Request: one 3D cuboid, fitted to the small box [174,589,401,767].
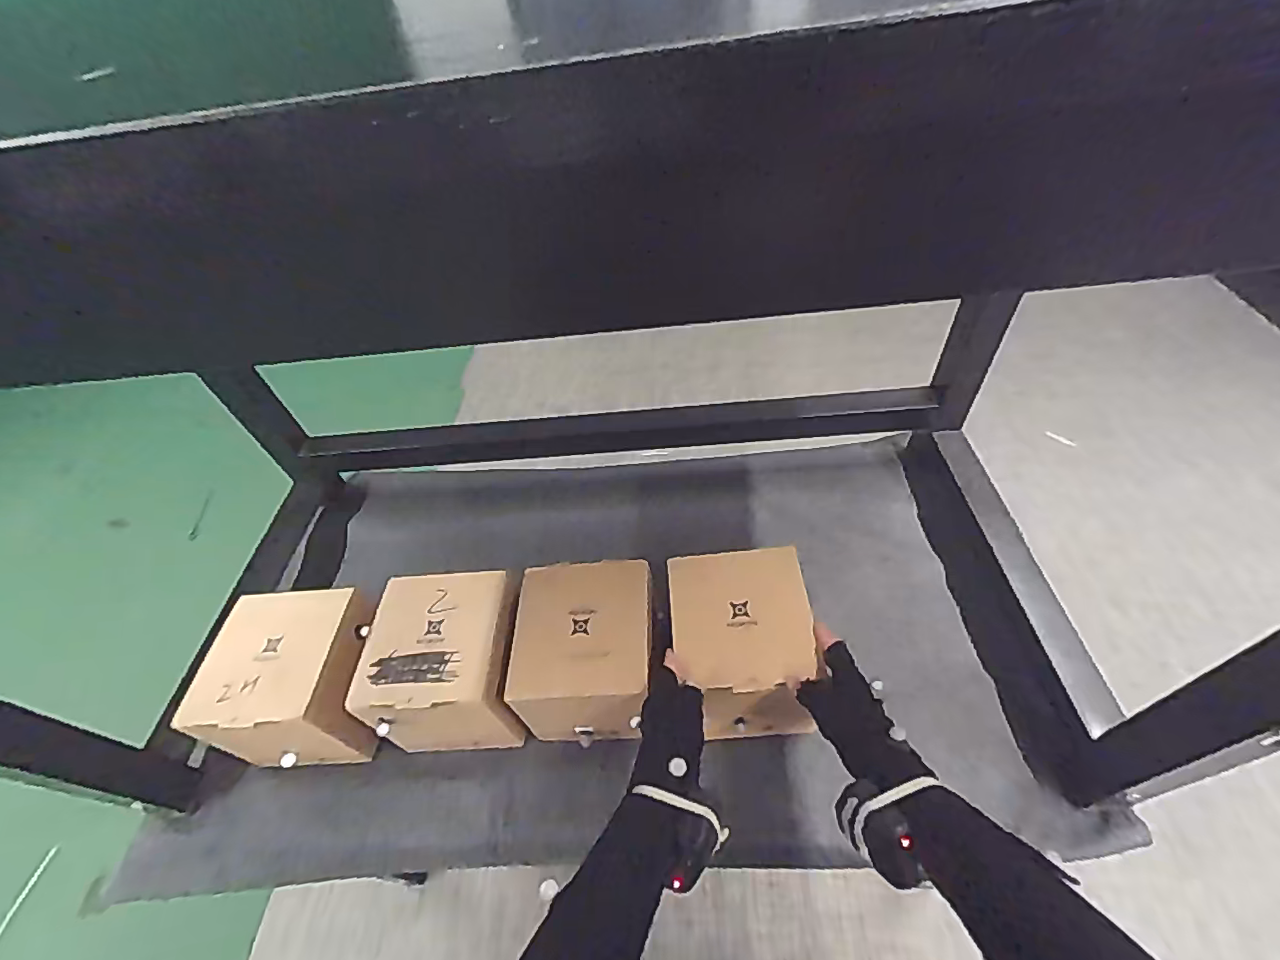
[{"bbox_3d":[-0.451,0.269,0.732,0.168,0.176,0.179,-5,48,4],"label":"small box"}]

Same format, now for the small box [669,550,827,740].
[{"bbox_3d":[0.128,0.213,0.696,0.168,0.176,0.179,-7,48,5],"label":"small box"}]
